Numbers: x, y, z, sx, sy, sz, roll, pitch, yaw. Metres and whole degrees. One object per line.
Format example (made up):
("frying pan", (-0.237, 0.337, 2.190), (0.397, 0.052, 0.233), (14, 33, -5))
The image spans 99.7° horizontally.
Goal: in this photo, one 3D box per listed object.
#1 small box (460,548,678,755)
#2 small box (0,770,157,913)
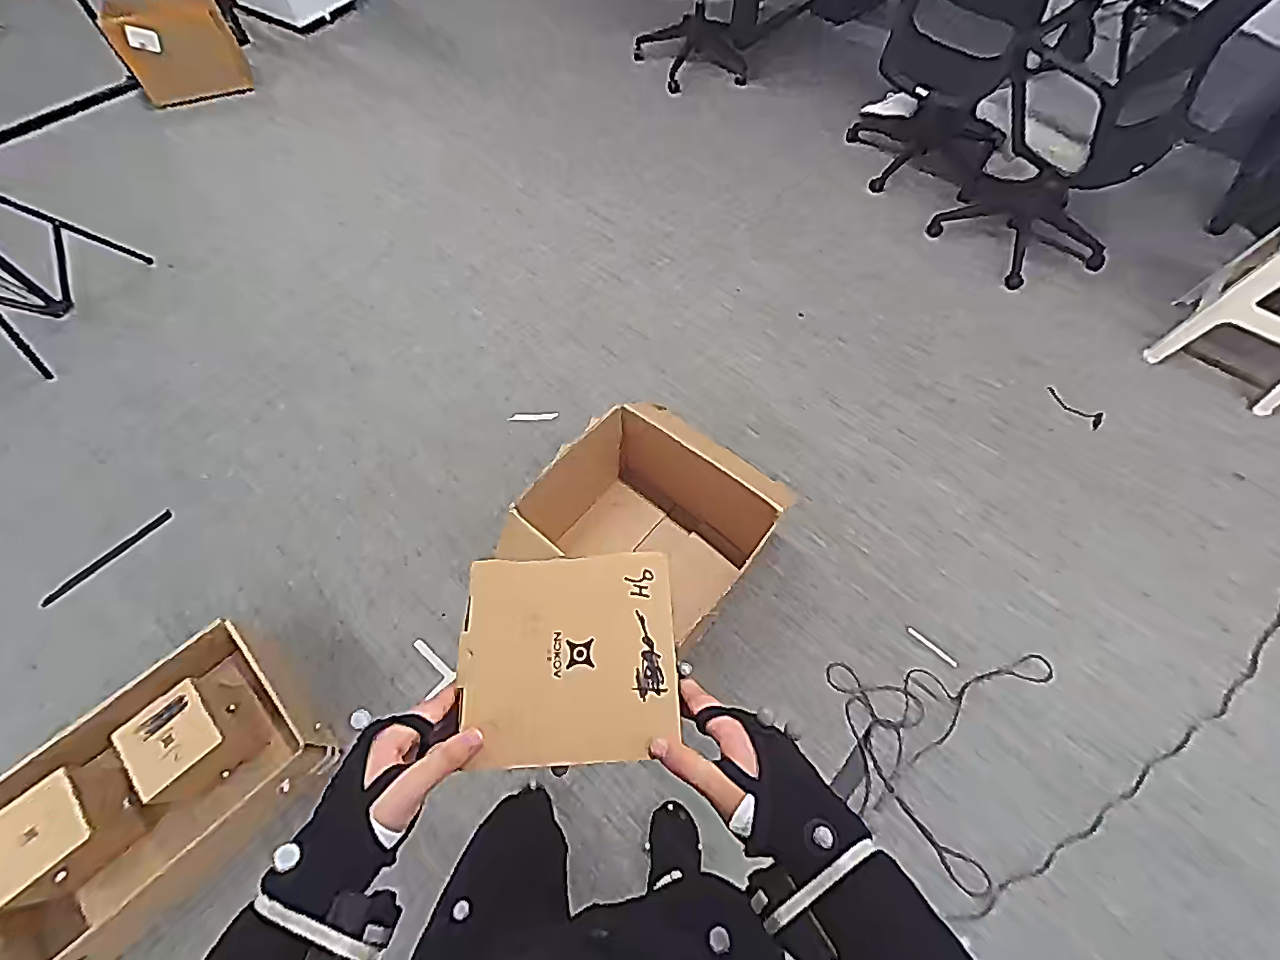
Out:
("small box", (-0.058, 0.172, 0.530), (0.179, 0.176, 0.168), (-3, 67, -1))
("small box", (-1.174, 0.733, 1.117), (0.179, 0.176, 0.168), (-40, 71, -21))
